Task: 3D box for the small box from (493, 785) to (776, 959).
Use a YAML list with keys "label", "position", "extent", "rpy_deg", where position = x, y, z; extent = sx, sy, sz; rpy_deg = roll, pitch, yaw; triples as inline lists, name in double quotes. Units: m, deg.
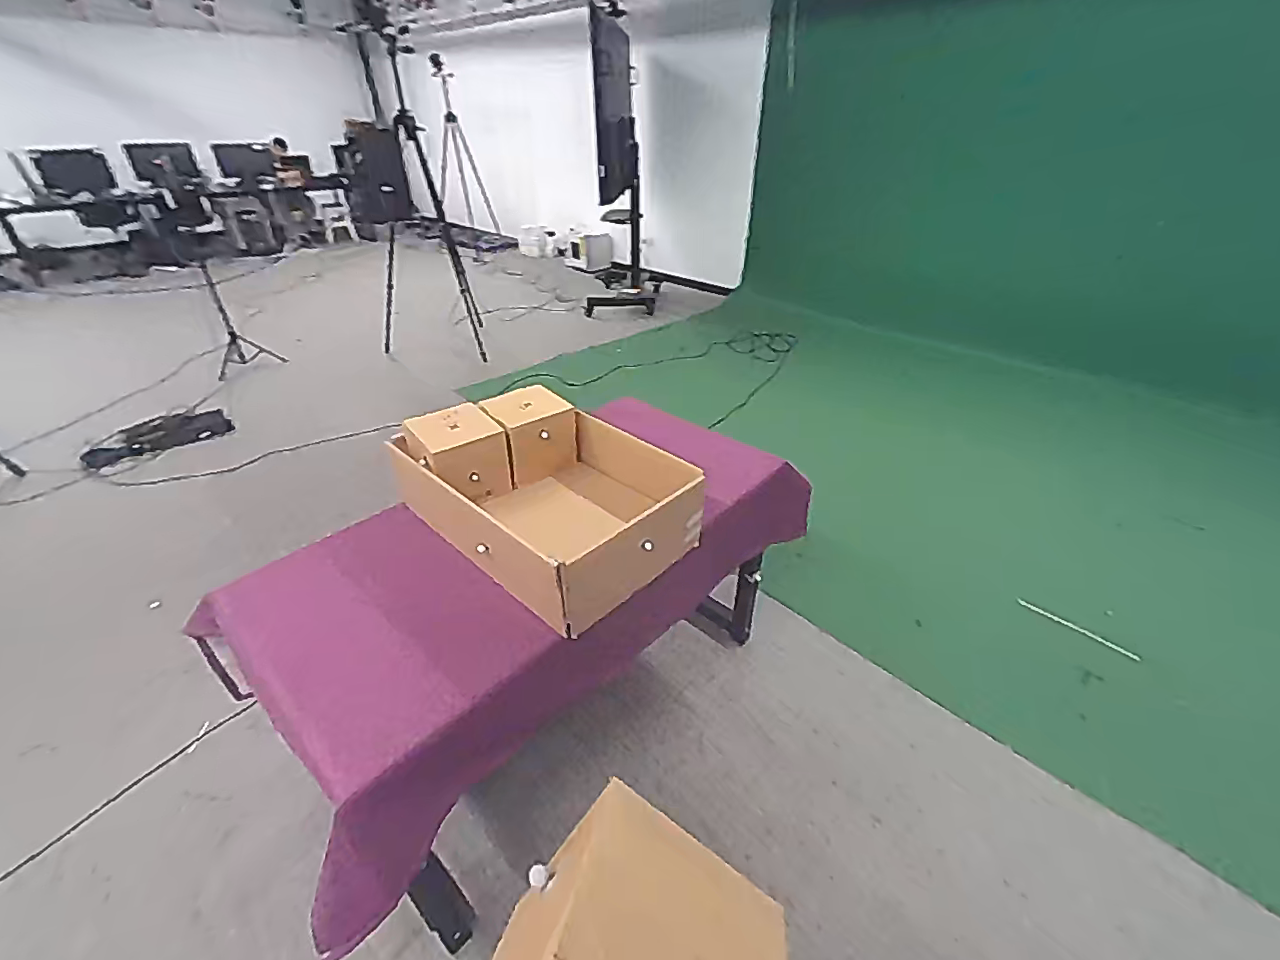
- label: "small box"
  position: [-0.010, 0.378, 0.402]
  extent: [0.179, 0.168, 0.176]
  rpy_deg: [34, 10, 6]
